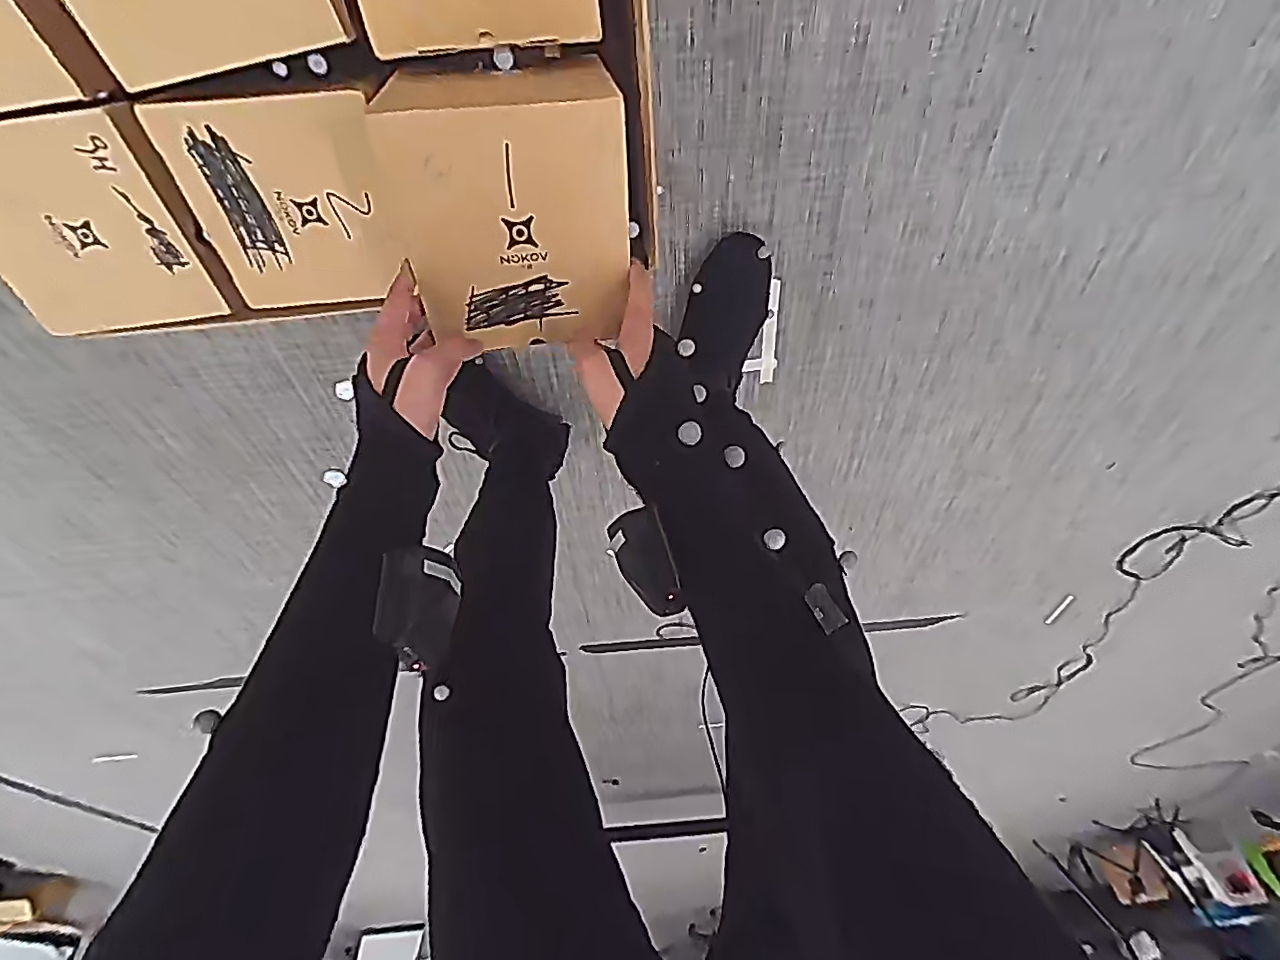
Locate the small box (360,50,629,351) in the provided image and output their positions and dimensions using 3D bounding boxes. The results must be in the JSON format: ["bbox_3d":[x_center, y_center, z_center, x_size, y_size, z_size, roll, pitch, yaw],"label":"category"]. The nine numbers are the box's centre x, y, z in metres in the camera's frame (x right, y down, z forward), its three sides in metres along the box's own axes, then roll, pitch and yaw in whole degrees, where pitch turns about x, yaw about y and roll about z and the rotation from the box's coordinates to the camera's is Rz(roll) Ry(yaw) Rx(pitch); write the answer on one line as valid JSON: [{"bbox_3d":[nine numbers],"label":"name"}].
[{"bbox_3d":[-0.101,-0.232,0.449,0.168,0.176,0.179,-8,135,-6],"label":"small box"}]
